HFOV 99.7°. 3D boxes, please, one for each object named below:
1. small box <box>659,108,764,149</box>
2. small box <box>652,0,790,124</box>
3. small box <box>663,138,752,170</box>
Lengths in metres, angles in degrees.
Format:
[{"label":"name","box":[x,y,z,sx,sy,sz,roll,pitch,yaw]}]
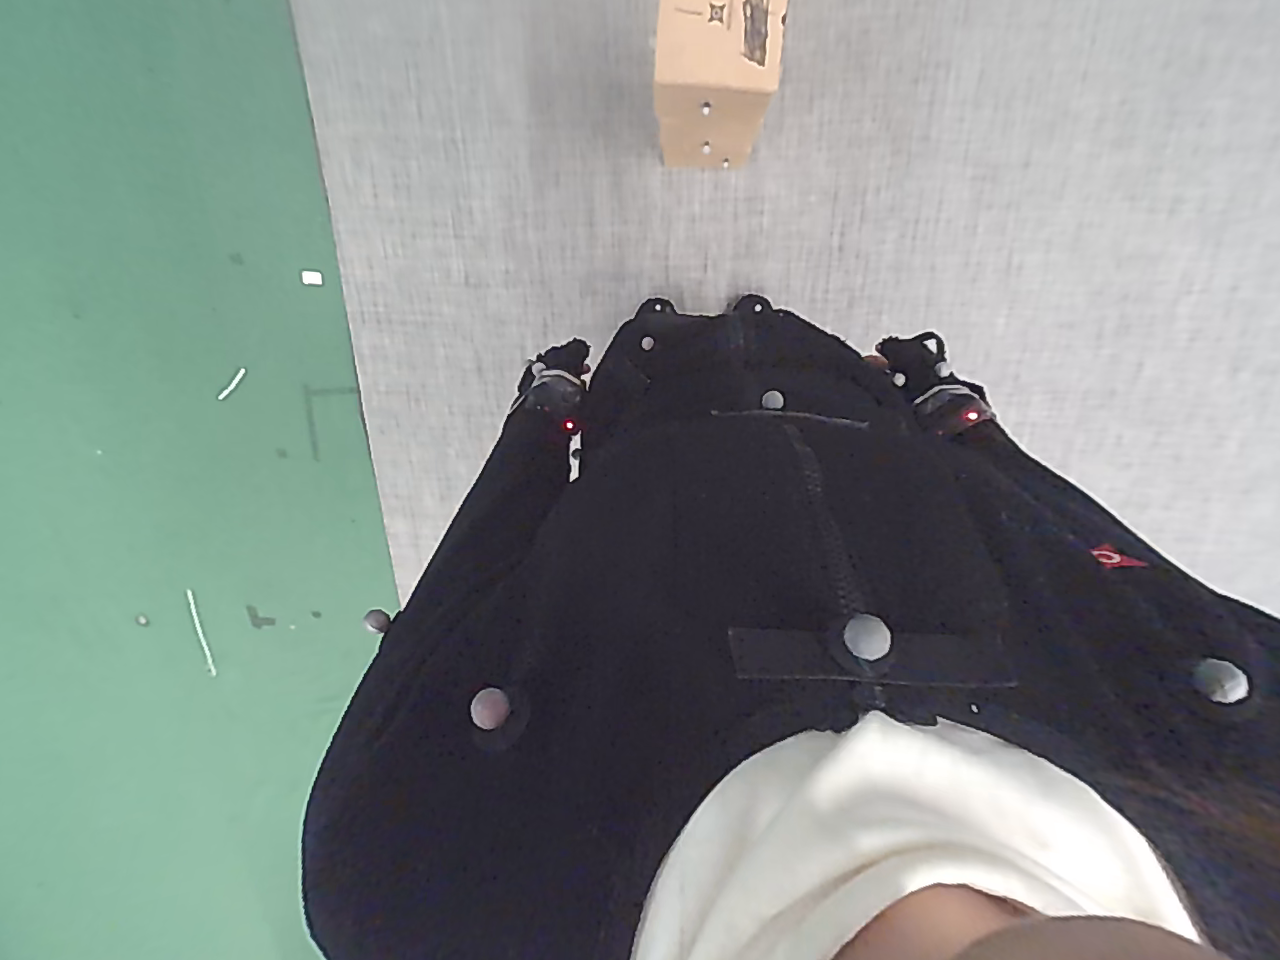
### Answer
[{"label":"small box","box":[0.127,-0.703,0.960,0.179,0.176,0.168,4,109,1]},{"label":"small box","box":[0.116,-0.651,0.804,0.179,0.176,0.168,7,109,2]},{"label":"small box","box":[0.138,-0.753,1.116,0.179,0.176,0.168,3,108,3]}]
